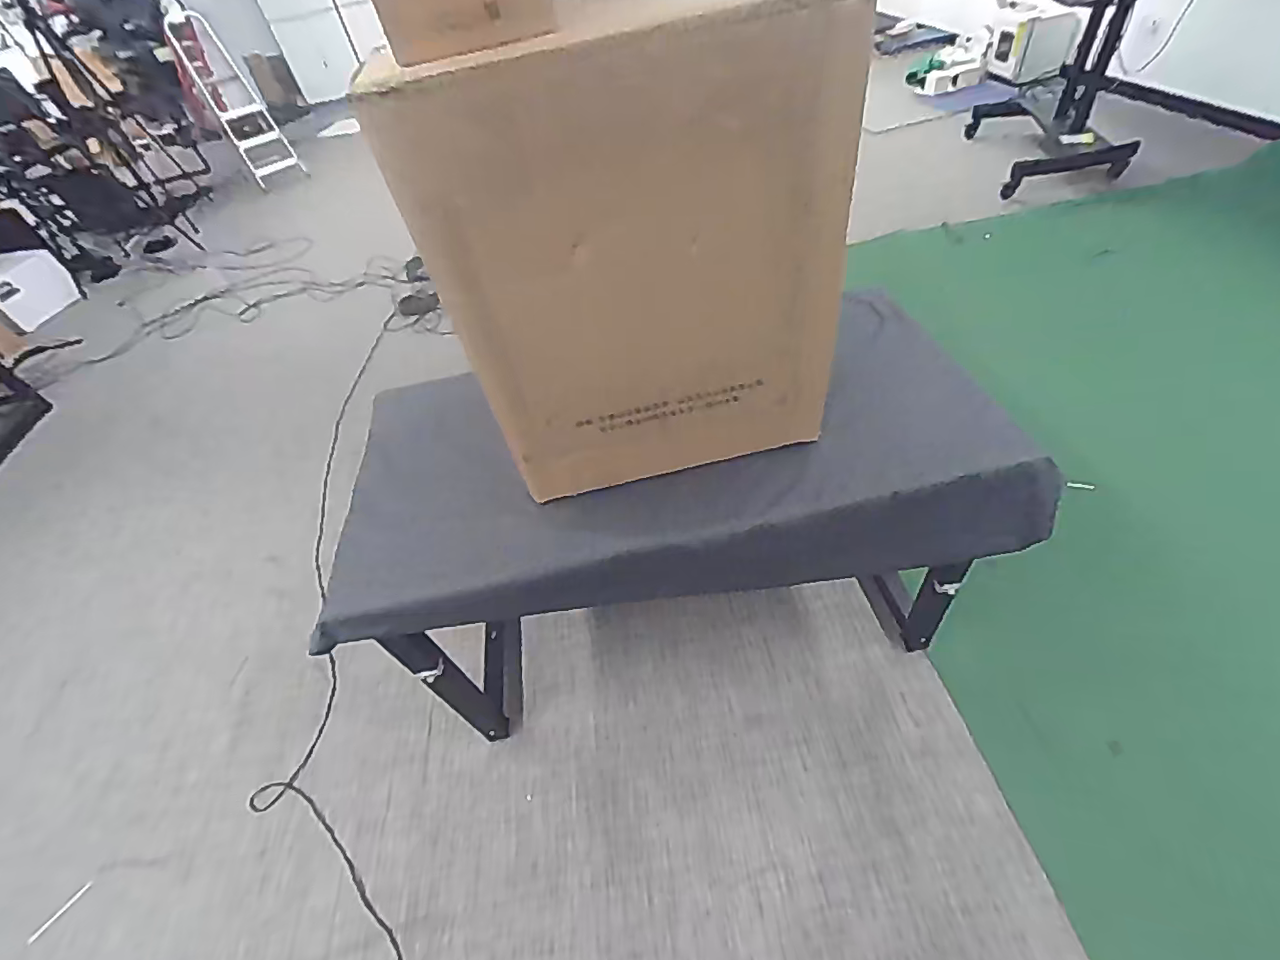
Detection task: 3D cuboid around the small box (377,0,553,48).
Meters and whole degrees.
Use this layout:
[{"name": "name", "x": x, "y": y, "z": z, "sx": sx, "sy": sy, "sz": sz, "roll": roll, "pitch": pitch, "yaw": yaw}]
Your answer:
[{"name": "small box", "x": -0.191, "y": -0.546, "z": 0.519, "sx": 0.168, "sy": 0.176, "sz": 0.179, "roll": -17, "pitch": 51, "yaw": -3}]
